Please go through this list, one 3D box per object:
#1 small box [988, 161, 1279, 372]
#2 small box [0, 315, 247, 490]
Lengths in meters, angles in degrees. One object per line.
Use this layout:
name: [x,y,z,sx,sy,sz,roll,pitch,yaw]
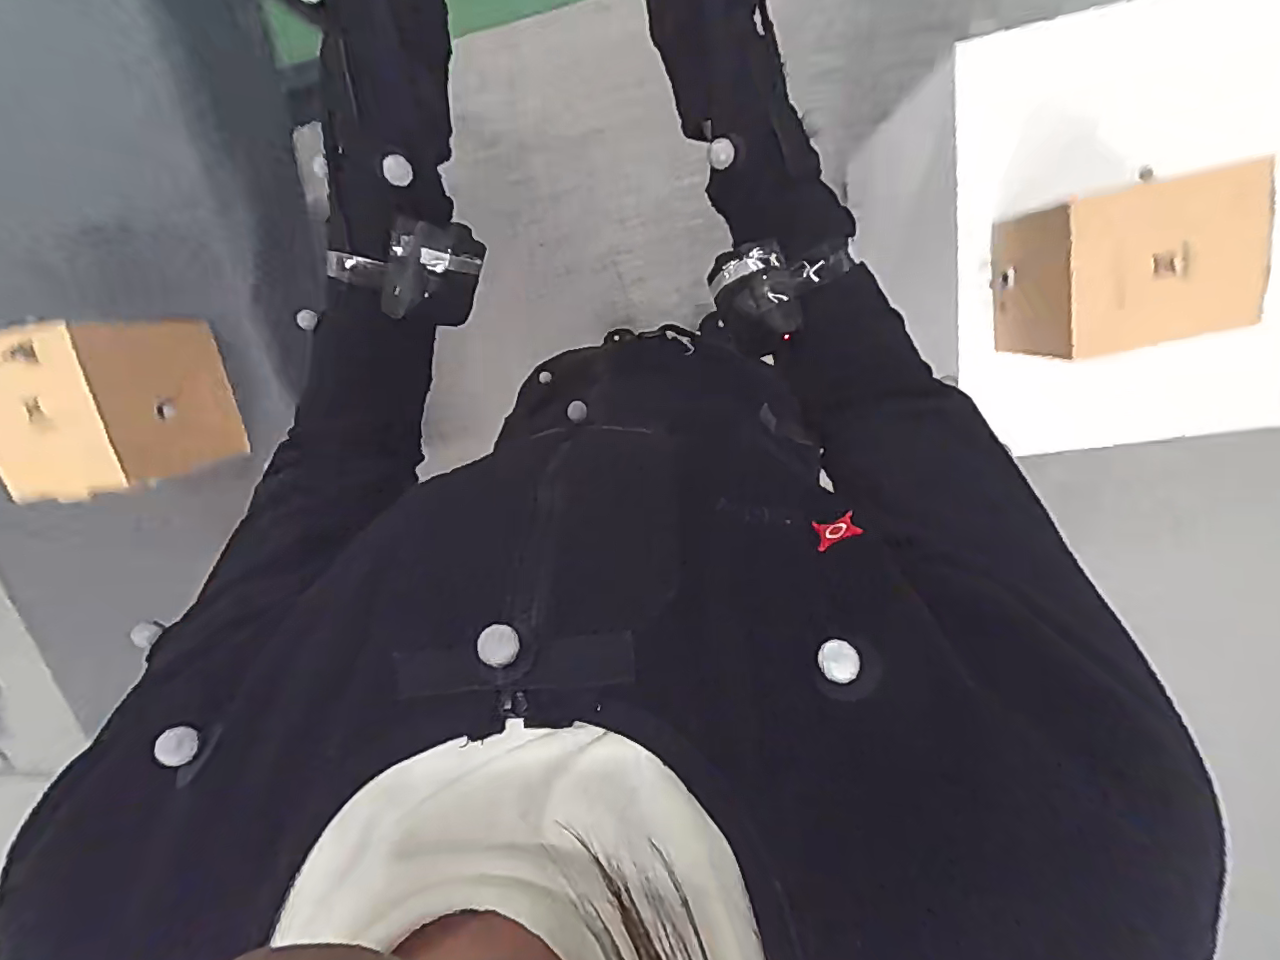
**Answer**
small box: [0.523,-0.226,0.602,0.179,0.176,0.168,-10,105,12]
small box: [-0.632,-0.101,0.658,0.168,0.176,0.179,-5,107,10]
